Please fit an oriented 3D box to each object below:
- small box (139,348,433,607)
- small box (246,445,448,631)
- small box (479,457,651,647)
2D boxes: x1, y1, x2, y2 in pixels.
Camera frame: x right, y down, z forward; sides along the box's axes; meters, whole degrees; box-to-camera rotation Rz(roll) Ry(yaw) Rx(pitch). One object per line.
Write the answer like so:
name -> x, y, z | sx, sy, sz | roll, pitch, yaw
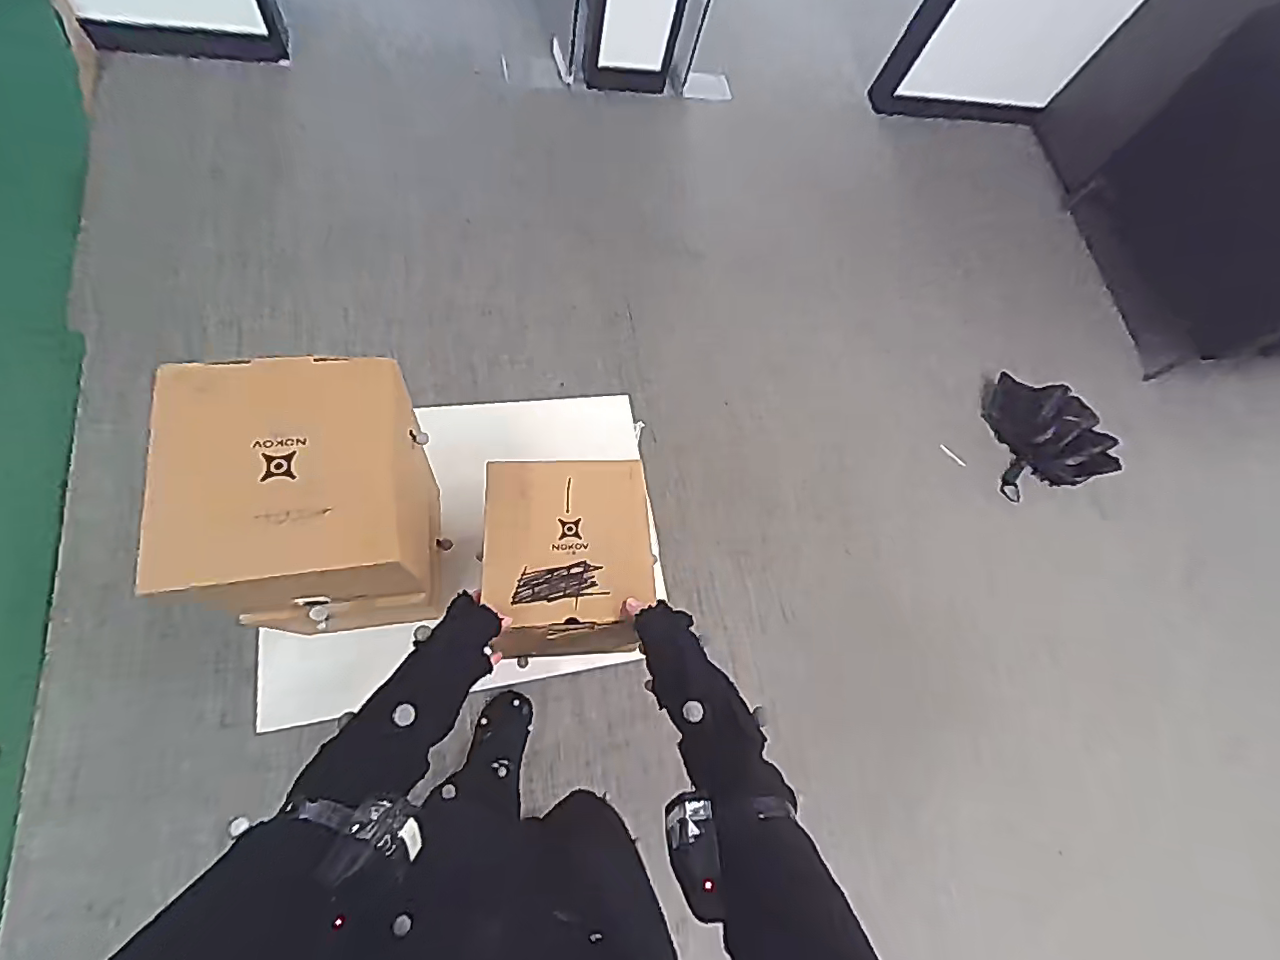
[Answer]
small box -> -0.282, 0.005, 0.473 | 0.168, 0.176, 0.179 | -6, 73, -15
small box -> -0.323, 0.072, 0.633 | 0.168, 0.176, 0.179 | -4, 70, -13
small box -> -0.084, 0.089, 0.617 | 0.168, 0.176, 0.179 | -1, 62, -9
